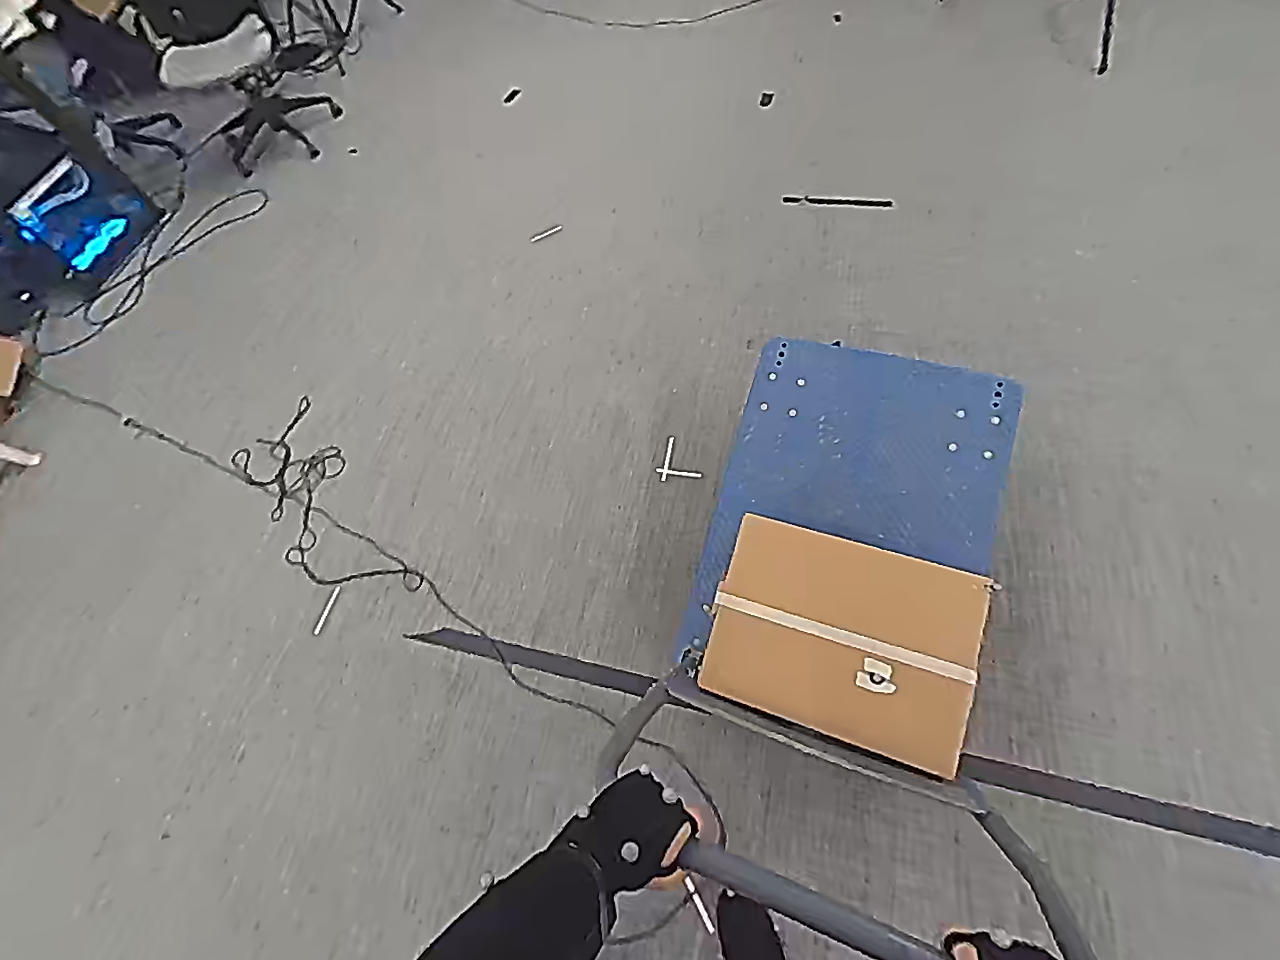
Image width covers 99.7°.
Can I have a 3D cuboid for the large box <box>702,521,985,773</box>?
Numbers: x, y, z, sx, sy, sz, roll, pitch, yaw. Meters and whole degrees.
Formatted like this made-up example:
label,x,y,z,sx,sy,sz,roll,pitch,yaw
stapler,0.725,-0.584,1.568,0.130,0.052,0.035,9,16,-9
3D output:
label,x,y,z,sx,sy,sz,roll,pitch,yaw
large box,0.362,0.295,1.042,0.408,0.320,0.320,15,81,16
